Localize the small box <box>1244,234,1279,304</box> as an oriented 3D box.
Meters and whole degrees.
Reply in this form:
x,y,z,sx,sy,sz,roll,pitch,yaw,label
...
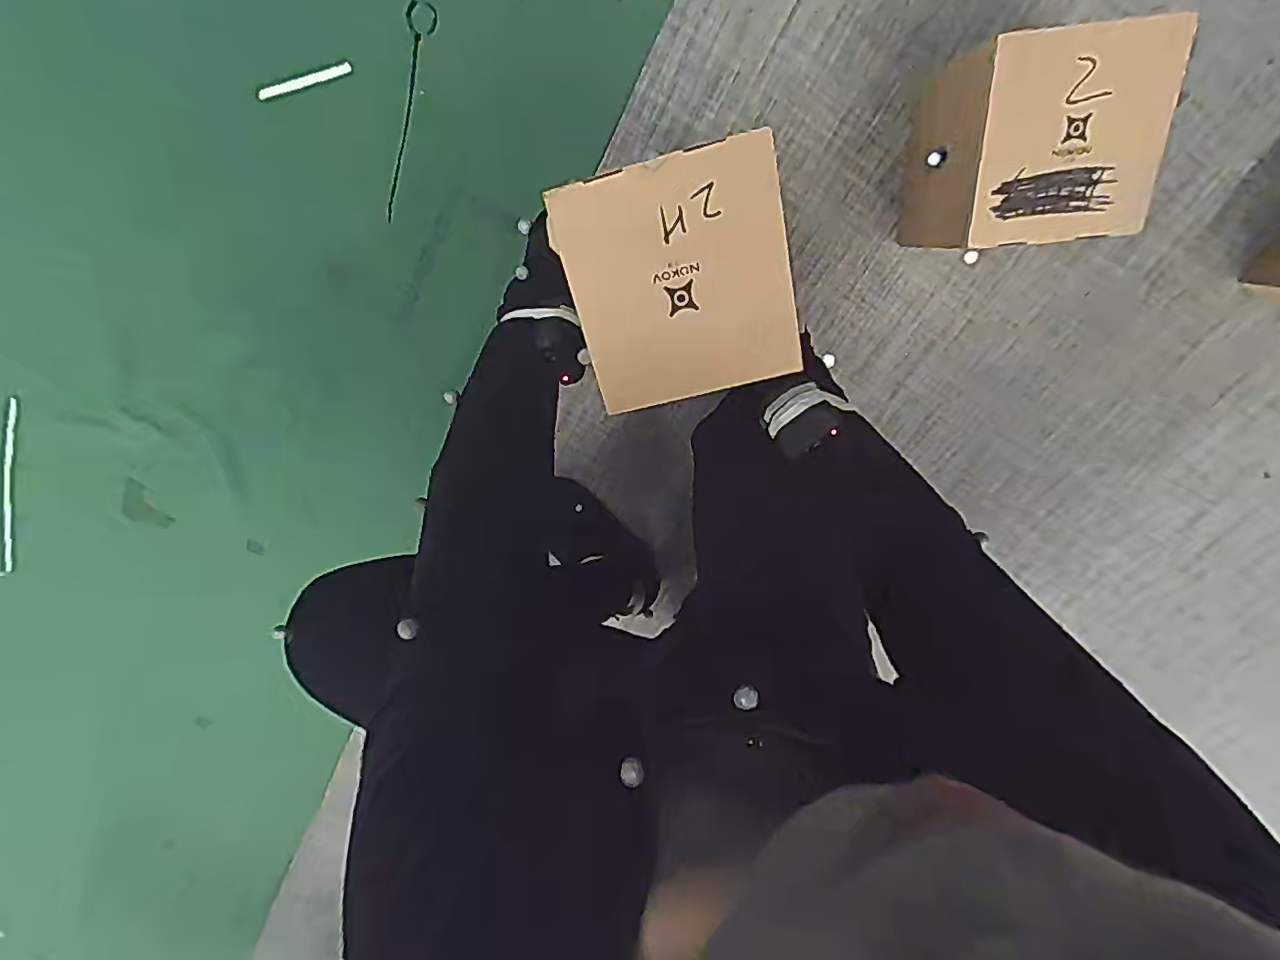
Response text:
x,y,z,sx,sy,sz,roll,pitch,yaw,label
0.864,-0.257,0.596,0.179,0.176,0.168,21,114,-6,small box

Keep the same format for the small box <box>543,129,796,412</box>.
x,y,z,sx,sy,sz,roll,pitch,yaw,label
0.032,-0.182,0.485,0.168,0.176,0.179,-13,113,8,small box
